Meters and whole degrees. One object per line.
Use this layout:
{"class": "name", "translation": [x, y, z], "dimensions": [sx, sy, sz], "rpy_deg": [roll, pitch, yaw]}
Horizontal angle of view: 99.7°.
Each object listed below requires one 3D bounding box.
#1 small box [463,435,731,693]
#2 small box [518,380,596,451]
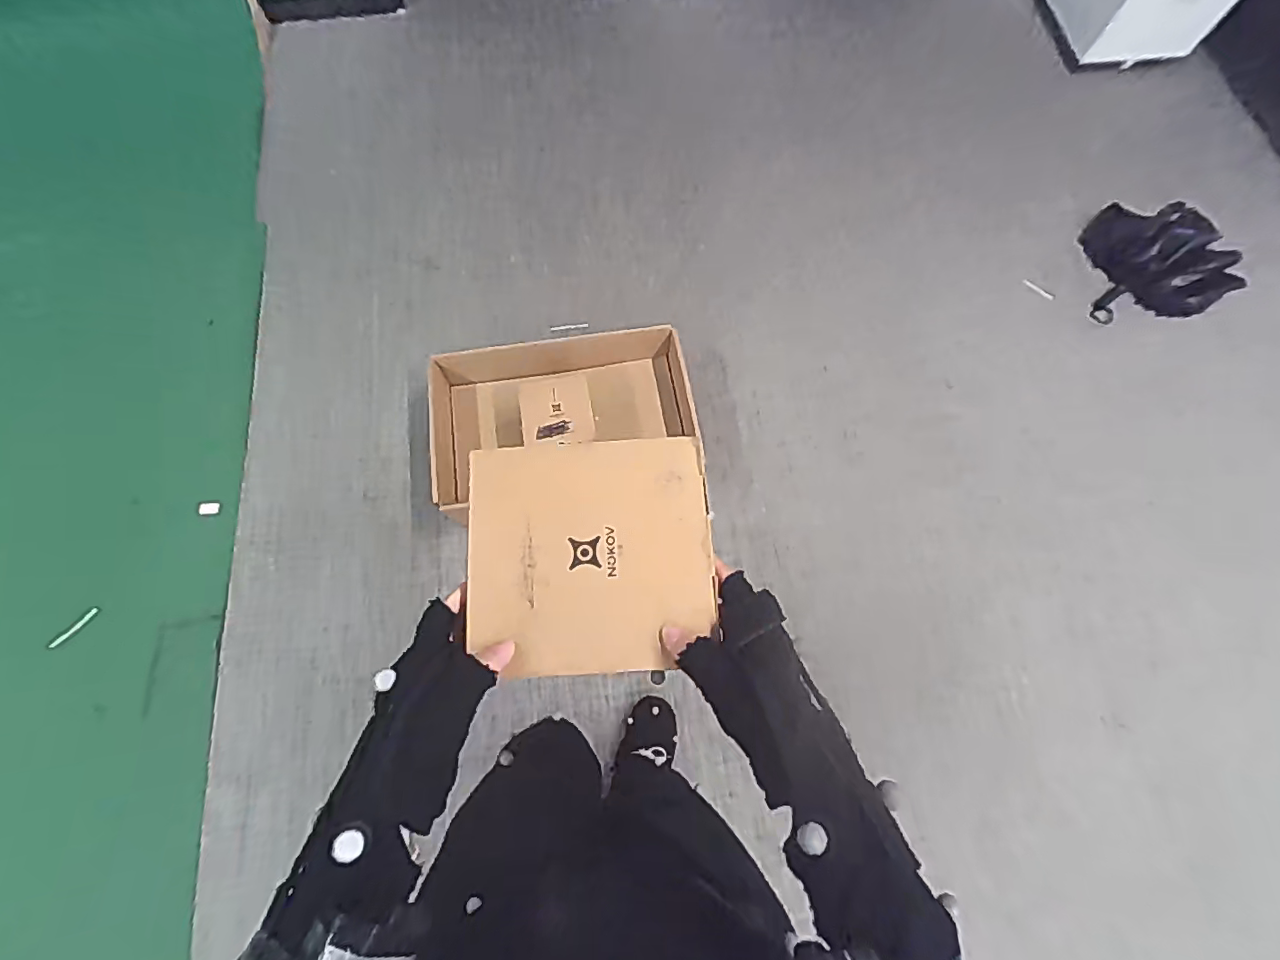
{"class": "small box", "translation": [-0.035, 0.073, 0.456], "dimensions": [0.179, 0.176, 0.168], "rpy_deg": [-7, 75, -2]}
{"class": "small box", "translation": [-0.196, -0.120, 1.326], "dimensions": [0.168, 0.176, 0.179], "rpy_deg": [-9, 70, -5]}
